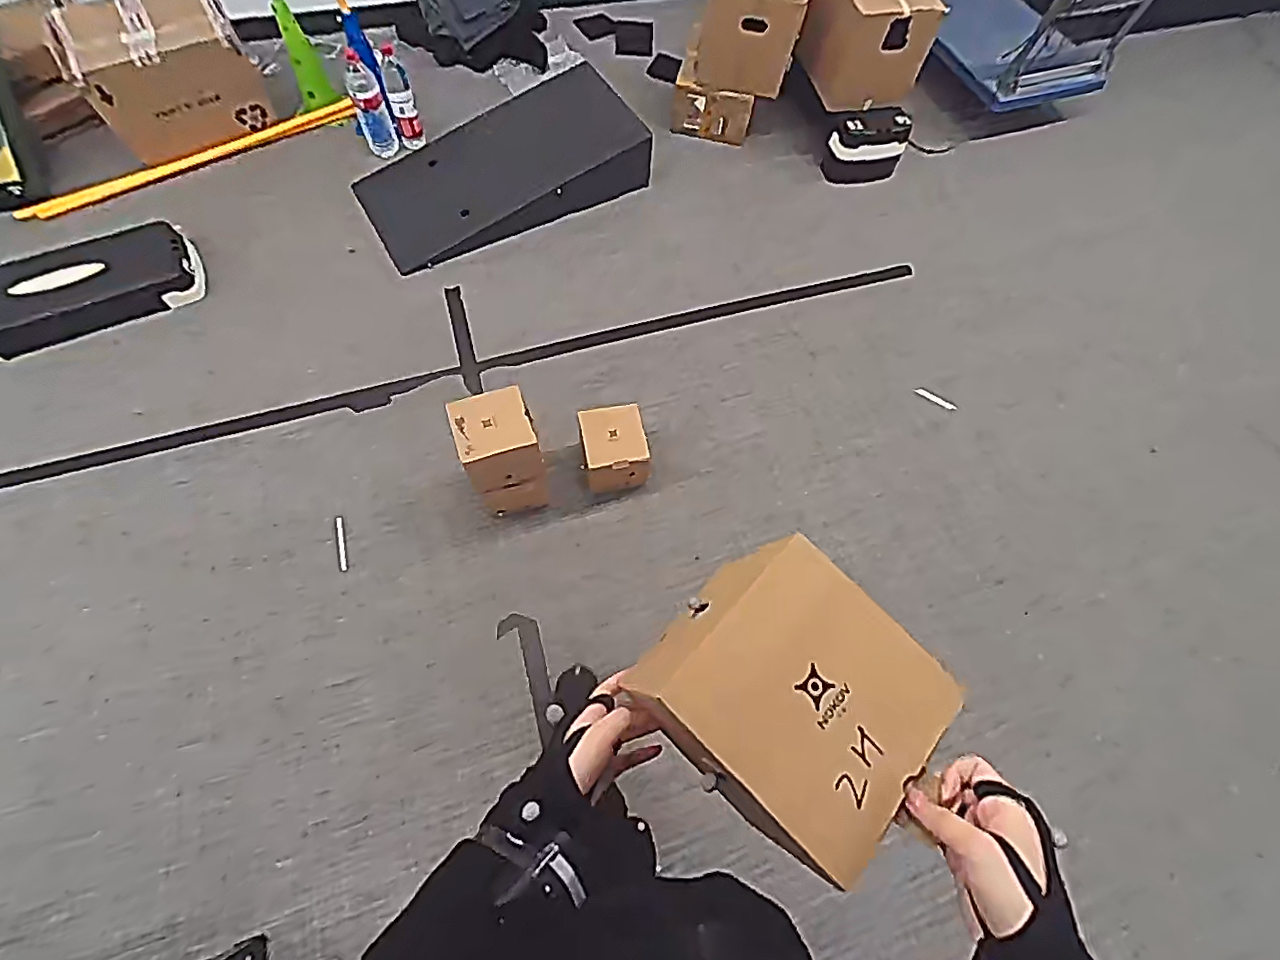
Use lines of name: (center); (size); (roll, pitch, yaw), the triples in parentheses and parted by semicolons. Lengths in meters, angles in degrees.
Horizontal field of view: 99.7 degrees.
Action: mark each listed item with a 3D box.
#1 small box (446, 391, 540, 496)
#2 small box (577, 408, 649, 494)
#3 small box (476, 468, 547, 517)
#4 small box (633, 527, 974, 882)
small box: (-0.343, -0.084, 1.292); (0.179, 0.176, 0.168); (-17, 67, -13)
small box: (-0.077, -0.073, 1.491); (0.168, 0.176, 0.179); (-10, 66, -9)
small box: (-0.348, -0.013, 1.441); (0.168, 0.176, 0.179); (-13, 66, -10)
small box: (0.116, 0.171, 0.451); (0.179, 0.176, 0.168); (45, 69, 5)
